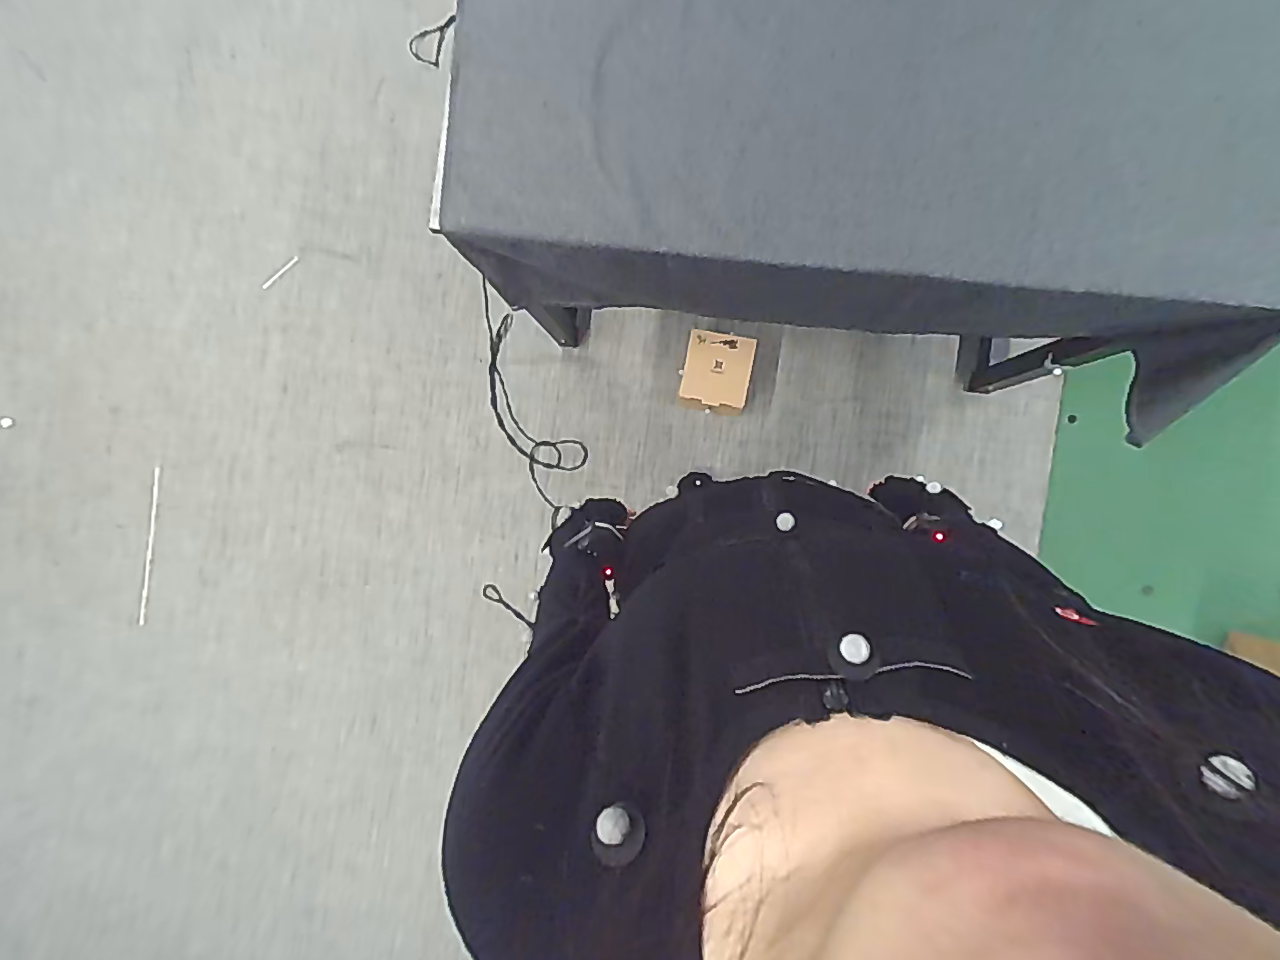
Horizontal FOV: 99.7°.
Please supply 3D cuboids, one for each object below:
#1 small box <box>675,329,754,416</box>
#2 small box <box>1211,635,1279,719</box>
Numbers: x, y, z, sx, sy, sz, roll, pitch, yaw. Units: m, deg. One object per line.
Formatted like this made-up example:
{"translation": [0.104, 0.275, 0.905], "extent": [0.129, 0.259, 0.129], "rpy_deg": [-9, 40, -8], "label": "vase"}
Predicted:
{"translation": [0.190, -0.269, 1.398], "extent": [0.168, 0.176, 0.179], "rpy_deg": [12, 90, 5], "label": "small box"}
{"translation": [1.552, 0.489, 1.289], "extent": [0.179, 0.176, 0.168], "rpy_deg": [18, 90, 6], "label": "small box"}
